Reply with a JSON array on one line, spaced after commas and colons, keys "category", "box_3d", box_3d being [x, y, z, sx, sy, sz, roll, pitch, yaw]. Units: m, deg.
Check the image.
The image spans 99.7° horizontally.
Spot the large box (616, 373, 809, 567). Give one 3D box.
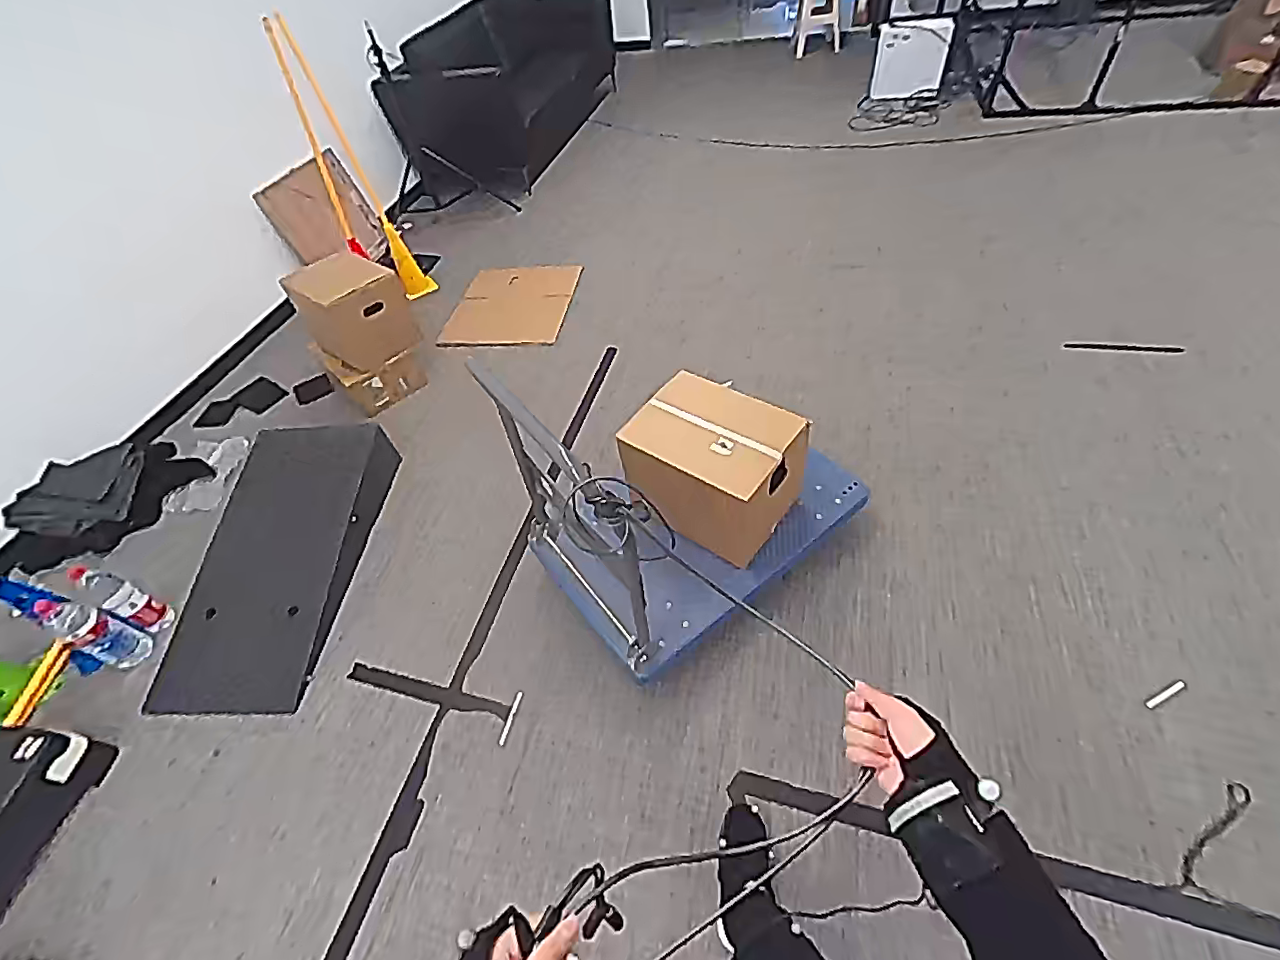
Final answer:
[{"category": "large box", "box_3d": [0.197, -0.033, 1.498, 0.408, 0.320, 0.320, 28, 61, 27]}]
